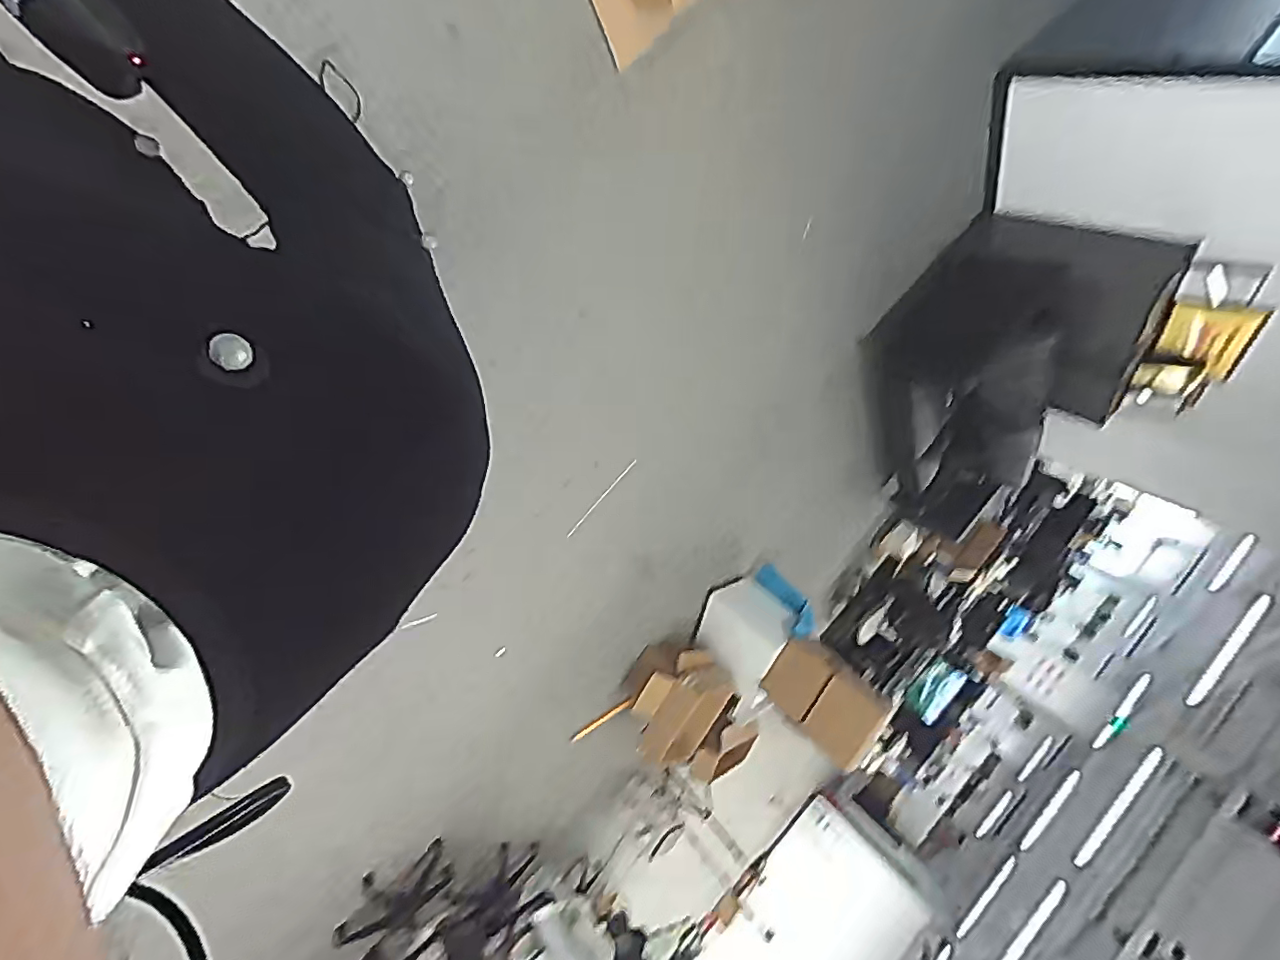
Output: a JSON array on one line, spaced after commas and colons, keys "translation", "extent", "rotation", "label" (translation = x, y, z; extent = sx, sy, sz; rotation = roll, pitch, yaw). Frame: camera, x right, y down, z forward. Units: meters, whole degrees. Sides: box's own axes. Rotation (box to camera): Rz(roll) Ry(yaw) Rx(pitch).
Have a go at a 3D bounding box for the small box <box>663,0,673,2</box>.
[{"translation": [0.064, -1.415, 1.433], "extent": [0.168, 0.176, 0.179], "rotation": [-45, 141, -9], "label": "small box"}]
